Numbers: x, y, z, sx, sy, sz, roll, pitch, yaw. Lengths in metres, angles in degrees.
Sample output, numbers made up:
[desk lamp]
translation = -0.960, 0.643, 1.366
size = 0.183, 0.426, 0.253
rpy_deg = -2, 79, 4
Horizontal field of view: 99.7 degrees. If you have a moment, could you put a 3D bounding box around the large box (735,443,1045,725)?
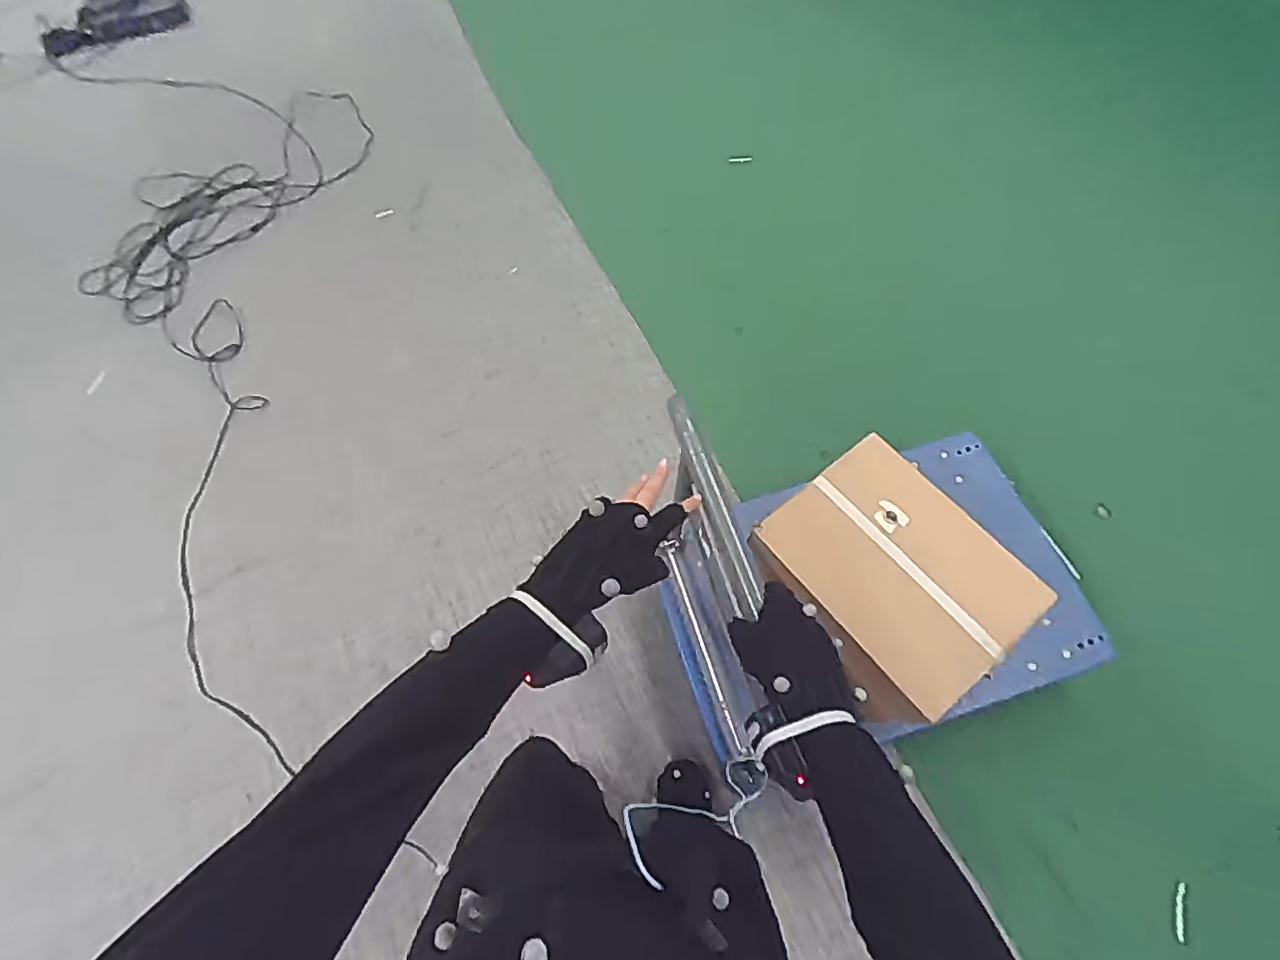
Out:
[large box]
translation = 0.442, 0.212, 1.065
size = 0.320, 0.320, 0.408
rpy_deg = -35, 68, -12
